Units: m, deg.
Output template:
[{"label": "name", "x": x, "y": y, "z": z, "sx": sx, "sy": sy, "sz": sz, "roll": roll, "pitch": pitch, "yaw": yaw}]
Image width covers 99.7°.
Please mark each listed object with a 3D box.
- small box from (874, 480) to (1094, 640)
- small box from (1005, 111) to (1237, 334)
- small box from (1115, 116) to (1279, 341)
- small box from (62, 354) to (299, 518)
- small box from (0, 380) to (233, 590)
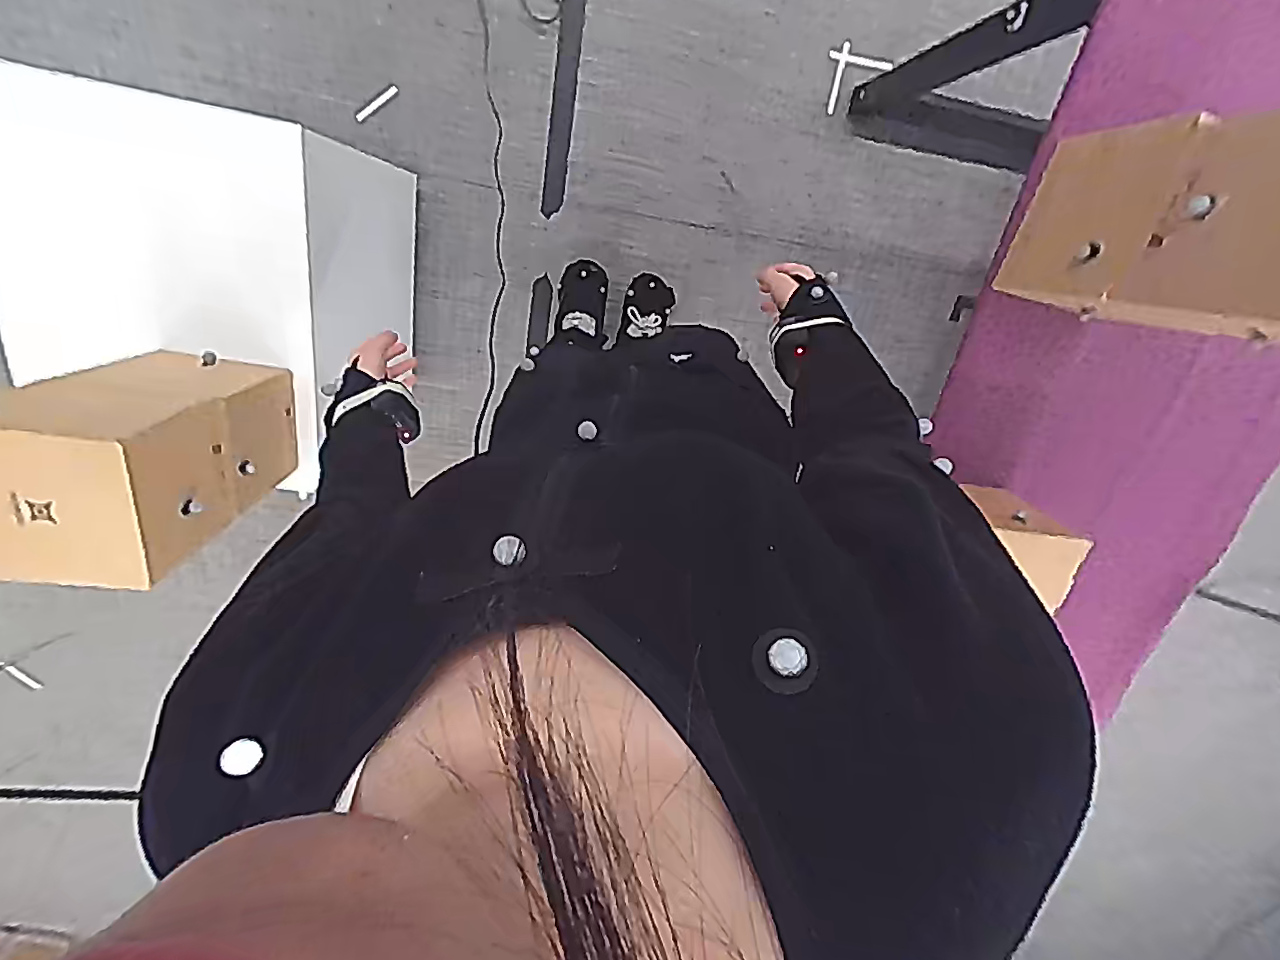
[{"label": "small box", "x": 0.482, "y": 0.110, "z": 0.788, "sx": 0.179, "sy": 0.176, "sz": 0.168, "roll": 7, "pitch": 111, "yaw": -9}, {"label": "small box", "x": 0.570, "y": -0.285, "z": 0.622, "sx": 0.168, "sy": 0.176, "sz": 0.179, "roll": 10, "pitch": 112, "yaw": -11}, {"label": "small box", "x": 0.597, "y": -0.214, "z": 0.476, "sx": 0.179, "sy": 0.176, "sz": 0.168, "roll": 10, "pitch": 112, "yaw": -10}, {"label": "small box", "x": -0.595, "y": -0.067, "z": 0.729, "sx": 0.179, "sy": 0.176, "sz": 0.168, "roll": 7, "pitch": 112, "yaw": -9}, {"label": "small box", "x": -0.575, "y": -0.002, "z": 0.580, "sx": 0.179, "sy": 0.176, "sz": 0.168, "roll": 6, "pitch": 113, "yaw": -9}]
